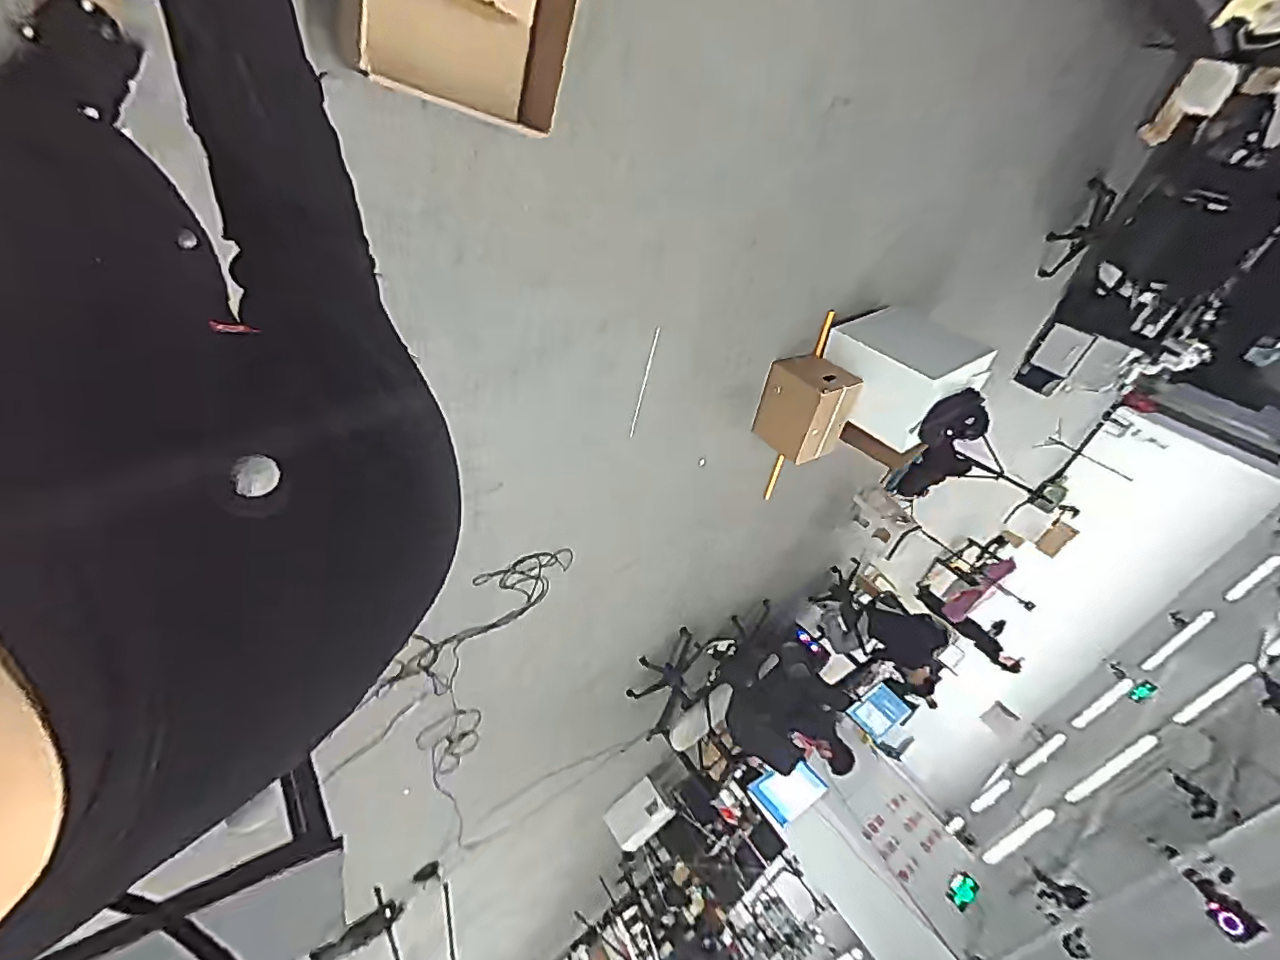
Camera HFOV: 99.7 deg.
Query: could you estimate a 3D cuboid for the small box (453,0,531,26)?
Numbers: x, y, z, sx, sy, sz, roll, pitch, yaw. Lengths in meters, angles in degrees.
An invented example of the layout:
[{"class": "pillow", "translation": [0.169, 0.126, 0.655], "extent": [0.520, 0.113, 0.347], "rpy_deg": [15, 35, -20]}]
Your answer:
[{"class": "small box", "translation": [-0.300, -0.984, 0.997], "extent": [0.168, 0.176, 0.179], "rpy_deg": [-6, 127, -43]}]
